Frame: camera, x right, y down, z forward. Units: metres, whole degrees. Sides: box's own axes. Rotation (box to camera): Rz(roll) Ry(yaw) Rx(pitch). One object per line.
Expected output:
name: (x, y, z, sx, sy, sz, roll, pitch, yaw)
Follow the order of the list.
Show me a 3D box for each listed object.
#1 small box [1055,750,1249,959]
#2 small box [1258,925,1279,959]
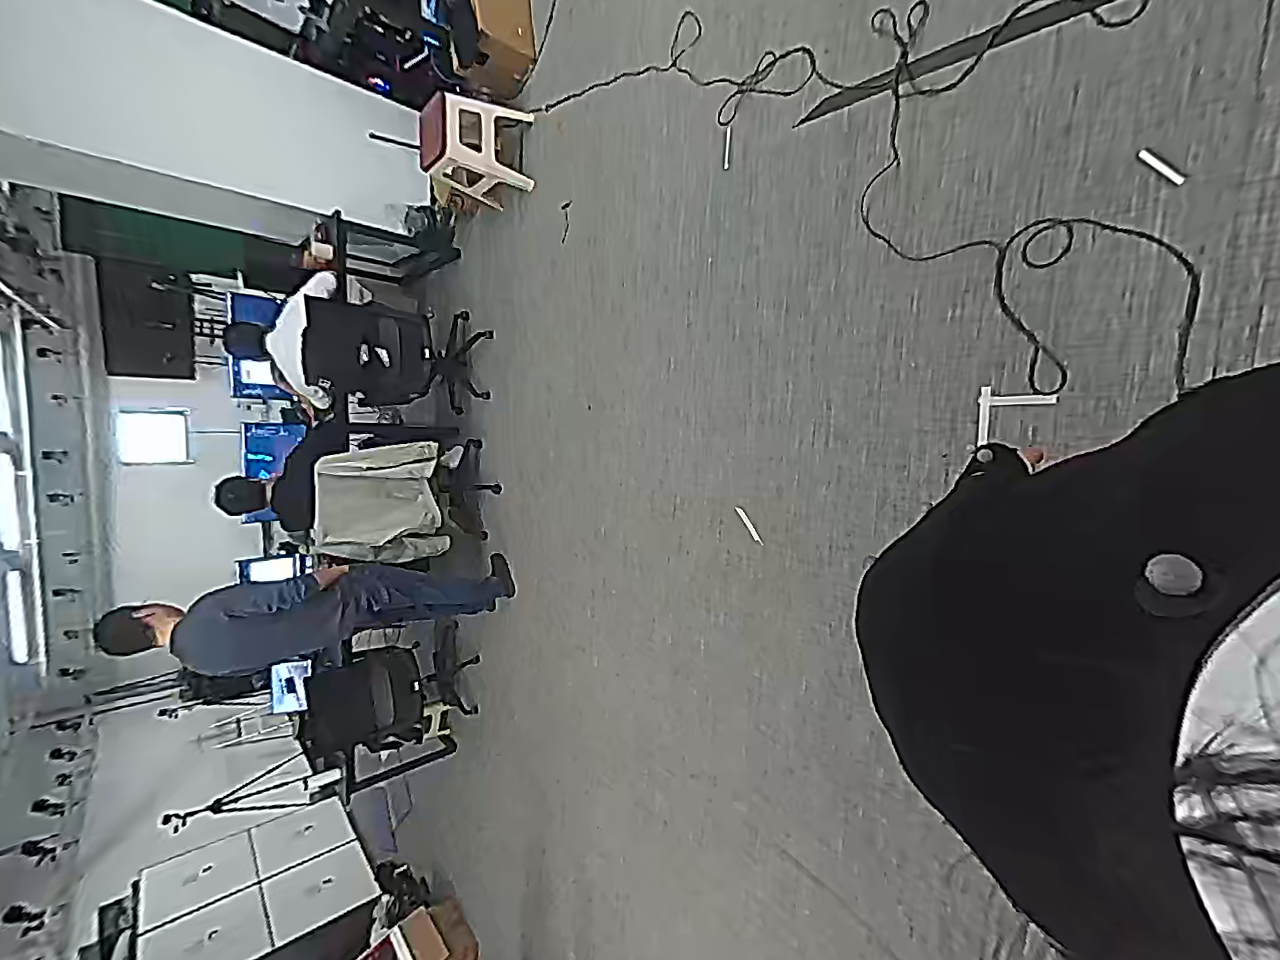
small box: (0.695, 0.509, 0.736, 0.168, 0.176, 0.179, 8, 96, 48)
small box: (0.813, 0.672, 0.605, 0.168, 0.176, 0.179, 8, 97, 47)
